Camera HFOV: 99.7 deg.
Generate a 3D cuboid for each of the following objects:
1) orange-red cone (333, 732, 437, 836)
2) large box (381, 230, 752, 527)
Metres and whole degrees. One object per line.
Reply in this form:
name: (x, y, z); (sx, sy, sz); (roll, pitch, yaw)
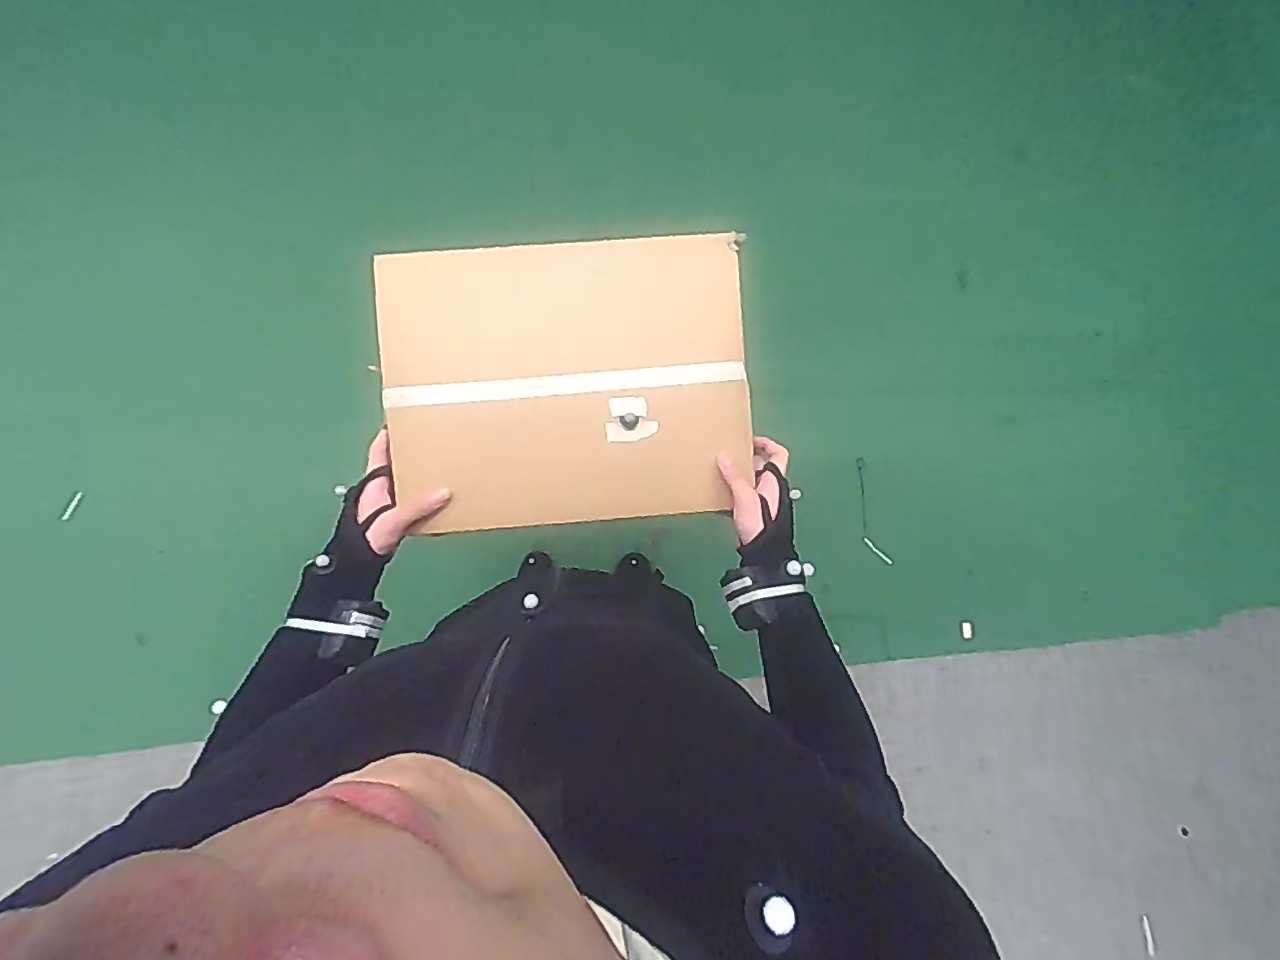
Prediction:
orange-red cone: (-0.664, 0.782, 1.341); (0.199, 0.360, 0.198); (3, 80, -4)
large box: (-0.088, -0.120, 0.763); (0.408, 0.320, 0.320); (-5, 93, -3)
